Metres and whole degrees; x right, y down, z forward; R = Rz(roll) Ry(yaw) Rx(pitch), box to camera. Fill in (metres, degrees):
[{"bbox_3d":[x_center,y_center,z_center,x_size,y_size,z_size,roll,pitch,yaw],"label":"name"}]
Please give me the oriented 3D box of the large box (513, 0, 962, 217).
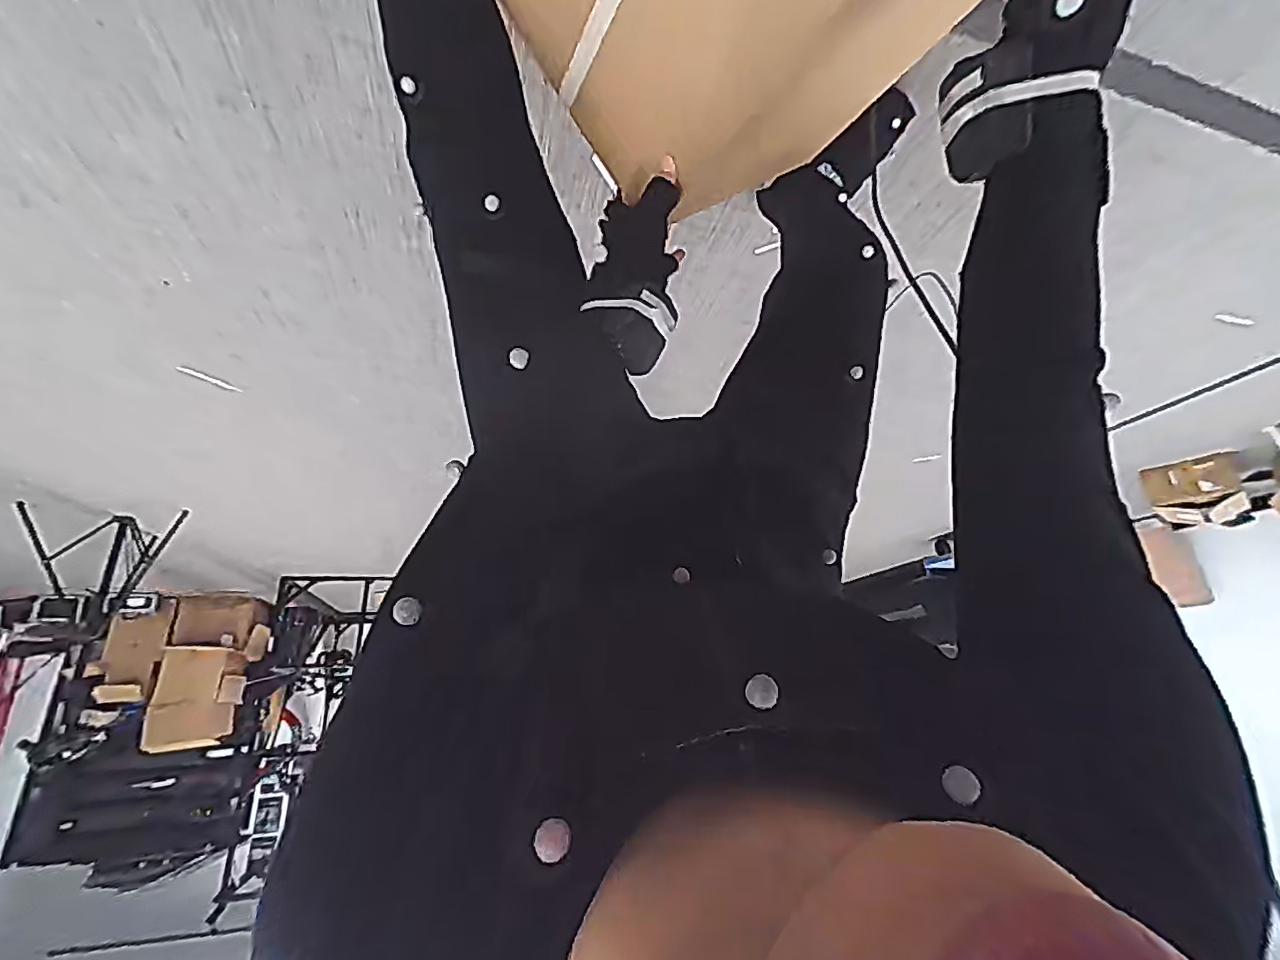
[{"bbox_3d":[0.124,-0.518,0.463,0.320,0.320,0.408,-38,-173,-31],"label":"large box"}]
